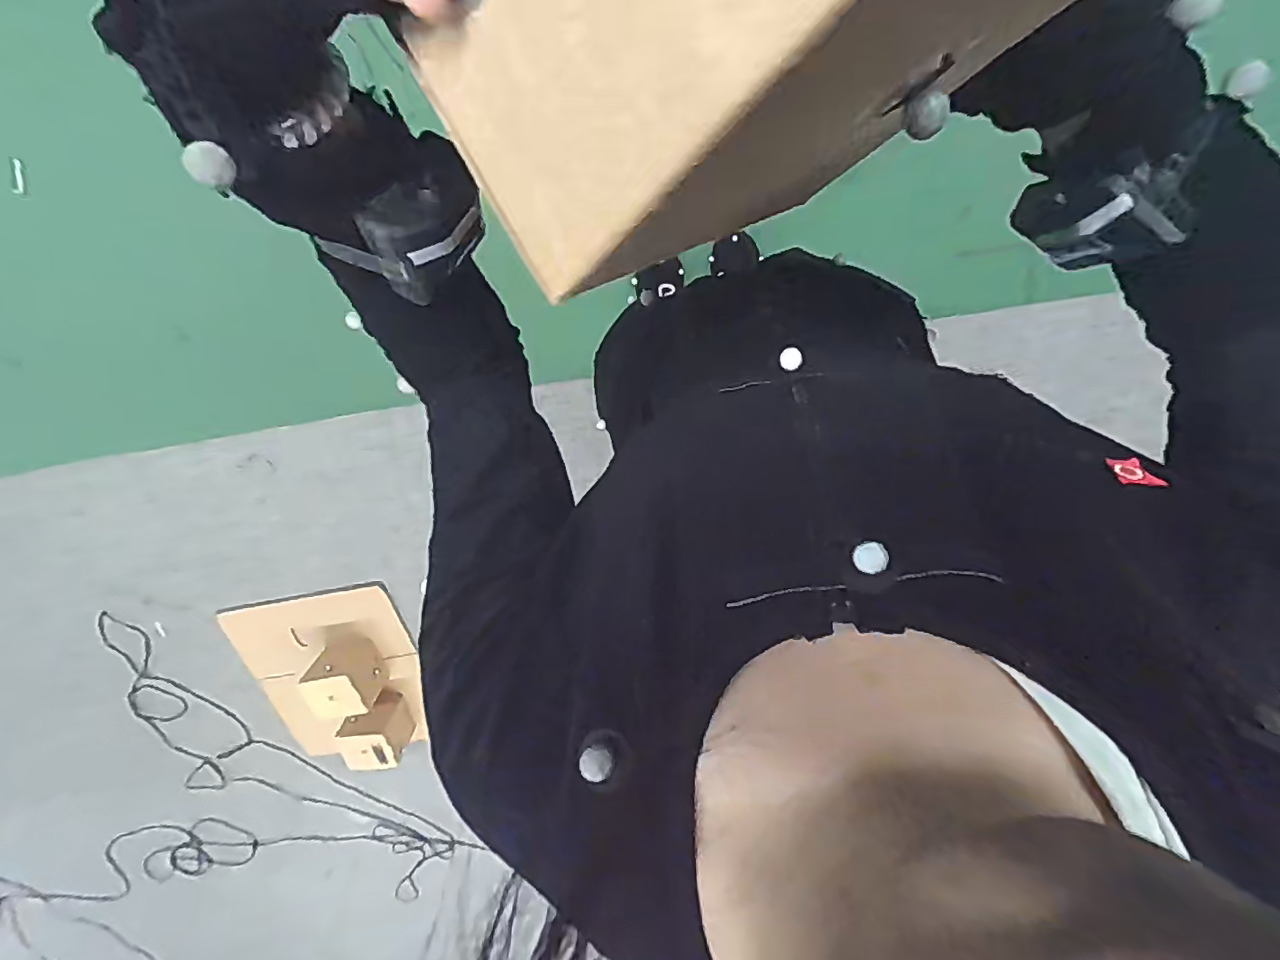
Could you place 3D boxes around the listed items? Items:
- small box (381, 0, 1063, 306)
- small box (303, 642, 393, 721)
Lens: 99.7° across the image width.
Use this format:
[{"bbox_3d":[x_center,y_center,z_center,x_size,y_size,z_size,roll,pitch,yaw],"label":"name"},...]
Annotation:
[{"bbox_3d":[0.031,-0.185,0.145,0.176,0.168,0.179,-19,105,53],"label":"small box"},{"bbox_3d":[-0.962,0.665,1.797,0.179,0.176,0.168,-13,113,6],"label":"small box"}]
